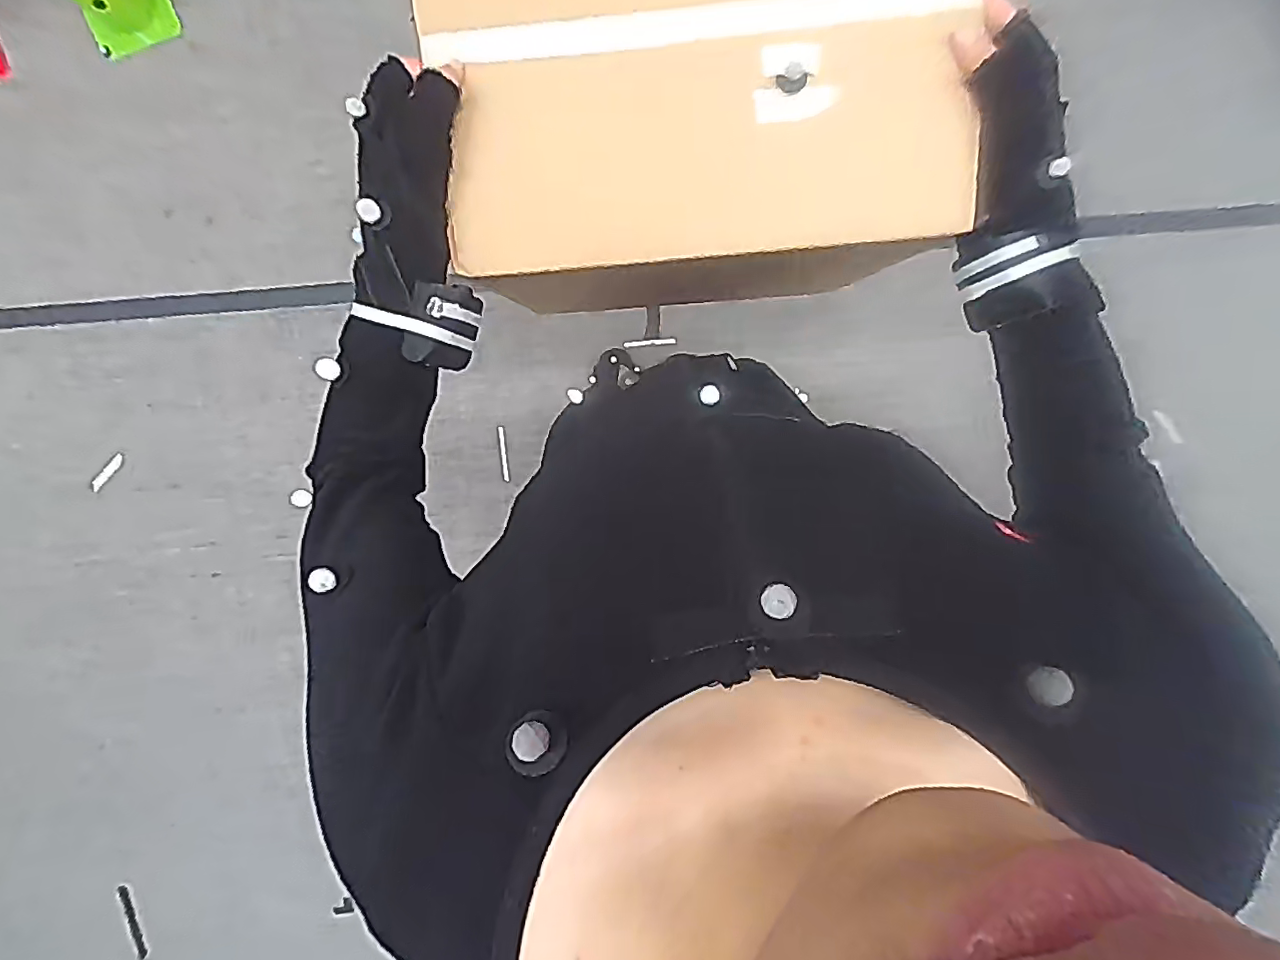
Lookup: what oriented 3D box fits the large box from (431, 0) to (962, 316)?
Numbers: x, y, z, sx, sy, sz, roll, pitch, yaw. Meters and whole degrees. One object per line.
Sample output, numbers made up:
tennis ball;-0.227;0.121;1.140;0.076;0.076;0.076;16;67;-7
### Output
large box;0.043;-0.362;0.555;0.408;0.320;0.320;-4;101;2
